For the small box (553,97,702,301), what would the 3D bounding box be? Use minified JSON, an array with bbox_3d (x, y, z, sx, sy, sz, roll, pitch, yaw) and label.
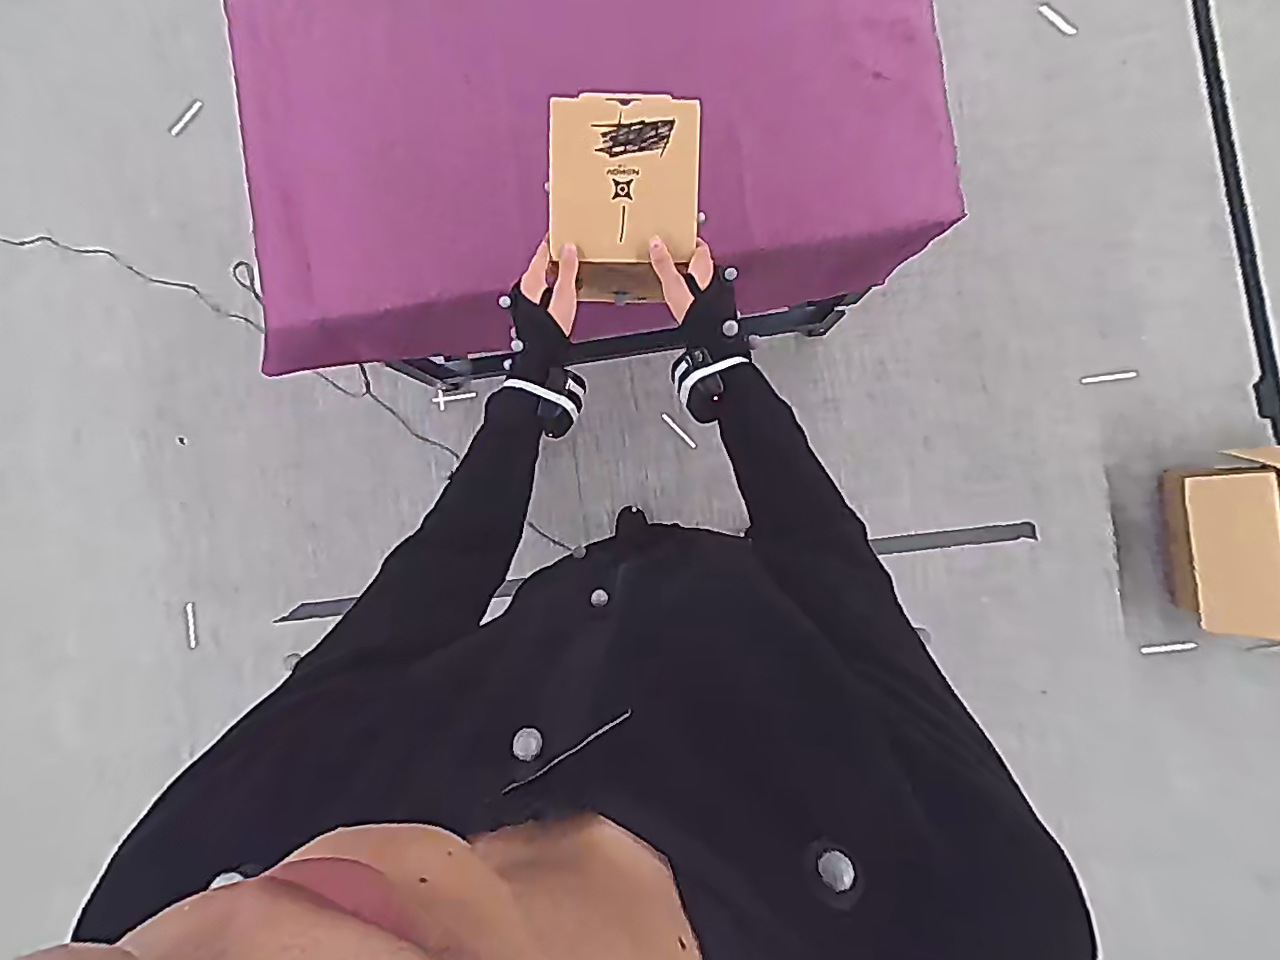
[{"bbox_3d":[-0.015,-0.337,0.676,0.168,0.176,0.179,1,94,1],"label":"small box"}]
